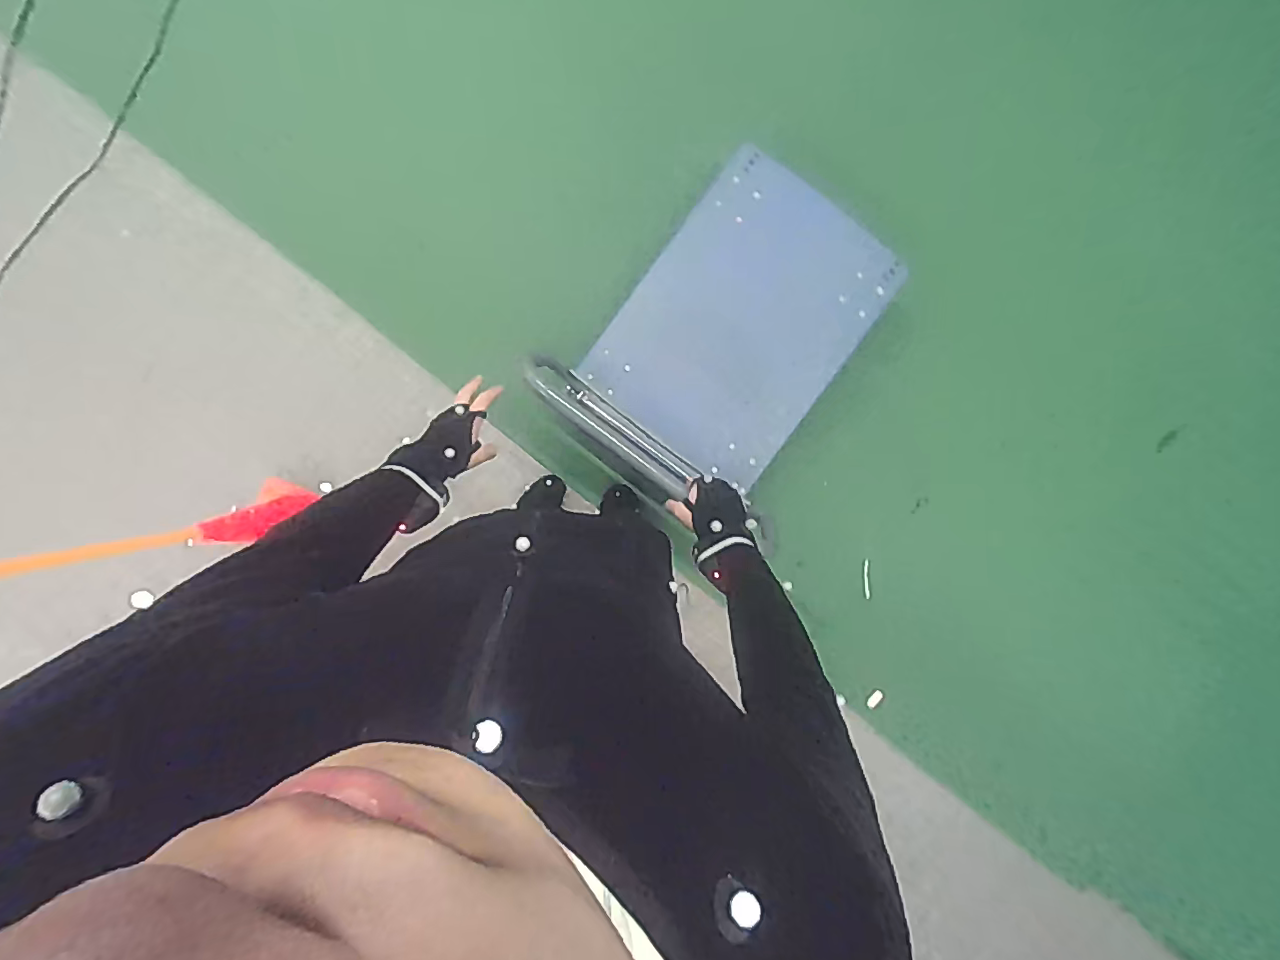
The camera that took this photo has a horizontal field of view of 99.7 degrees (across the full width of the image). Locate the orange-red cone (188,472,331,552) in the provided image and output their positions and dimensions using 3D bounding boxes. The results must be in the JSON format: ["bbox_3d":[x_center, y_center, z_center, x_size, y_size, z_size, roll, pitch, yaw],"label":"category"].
[{"bbox_3d":[-1.043,0.099,1.440,0.199,0.360,0.198,25,91,0],"label":"orange-red cone"}]
